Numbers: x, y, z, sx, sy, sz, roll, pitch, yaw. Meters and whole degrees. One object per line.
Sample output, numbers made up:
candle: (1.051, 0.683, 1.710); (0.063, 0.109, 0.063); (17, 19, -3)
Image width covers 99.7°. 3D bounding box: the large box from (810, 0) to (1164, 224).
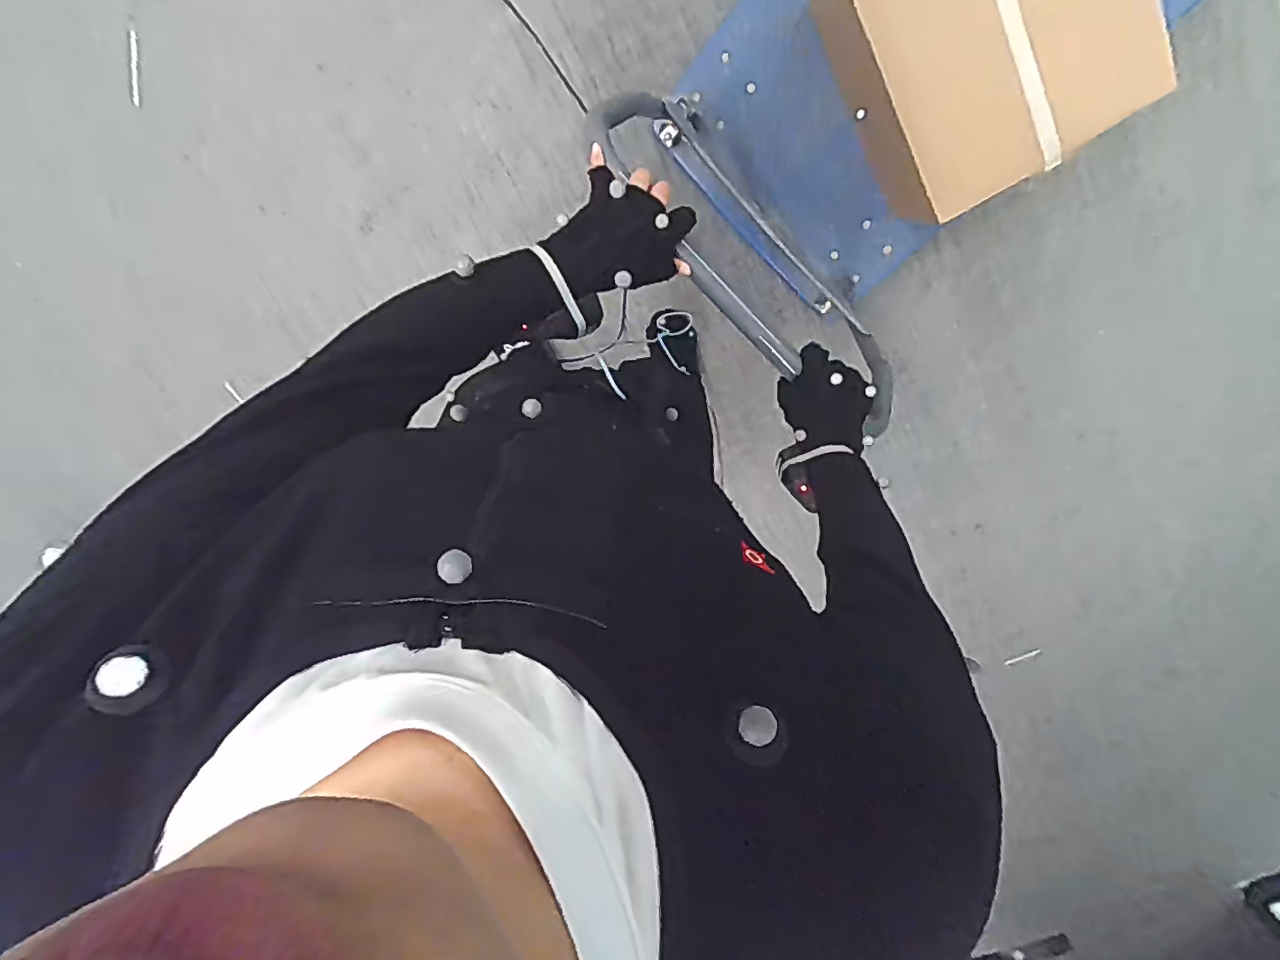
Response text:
large box: (0.506, -0.685, 0.854); (0.320, 0.320, 0.408); (-26, 111, 22)
